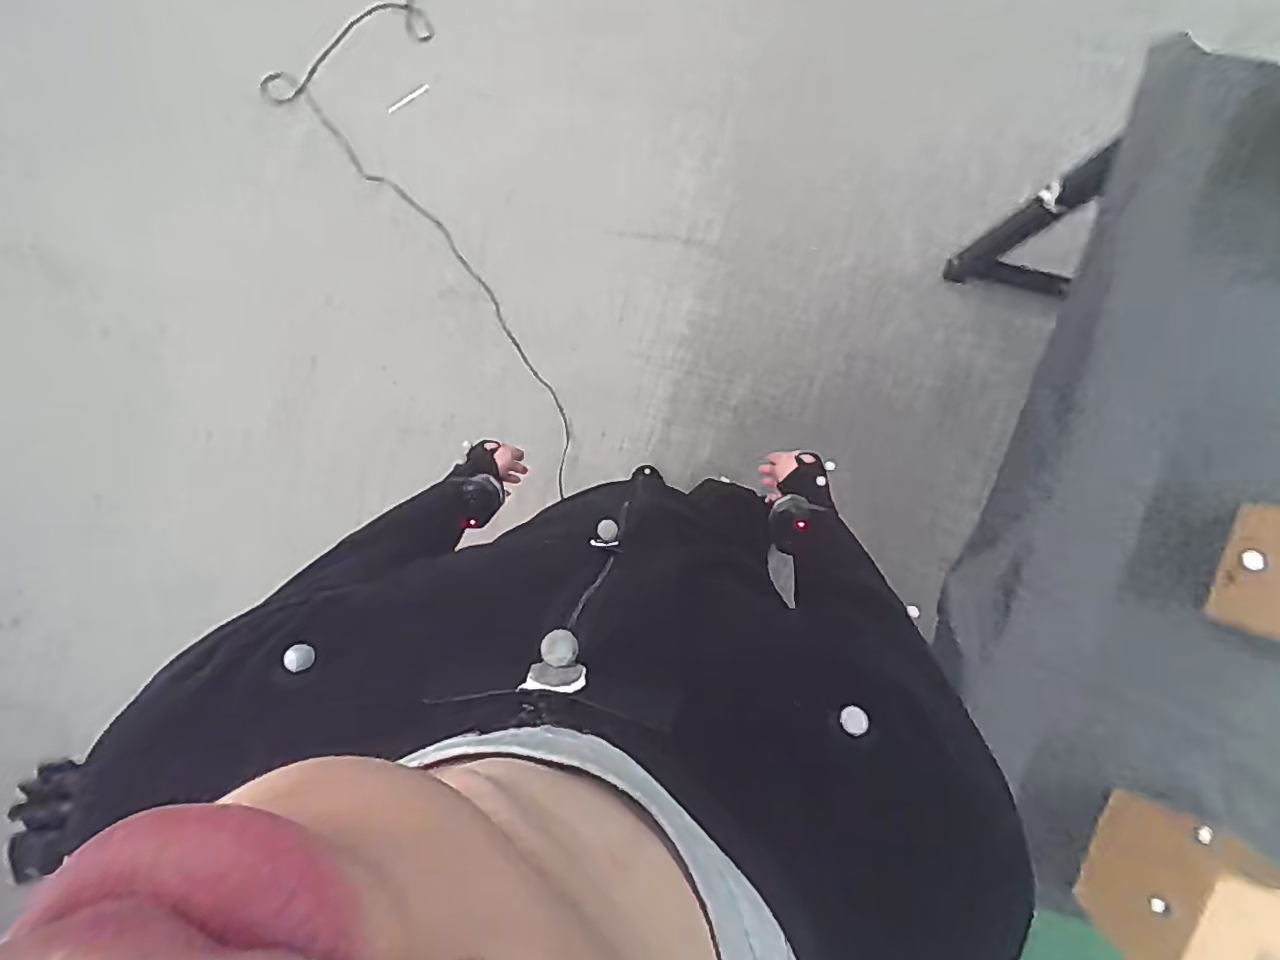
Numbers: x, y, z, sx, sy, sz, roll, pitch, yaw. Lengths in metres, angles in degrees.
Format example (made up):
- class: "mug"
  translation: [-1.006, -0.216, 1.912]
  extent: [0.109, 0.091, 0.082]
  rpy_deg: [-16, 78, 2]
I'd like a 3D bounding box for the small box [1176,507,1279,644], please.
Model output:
- class: "small box"
  translation: [0.885, 0.140, 0.706]
  extent: [0.179, 0.176, 0.168]
  rpy_deg: [16, 95, 4]
